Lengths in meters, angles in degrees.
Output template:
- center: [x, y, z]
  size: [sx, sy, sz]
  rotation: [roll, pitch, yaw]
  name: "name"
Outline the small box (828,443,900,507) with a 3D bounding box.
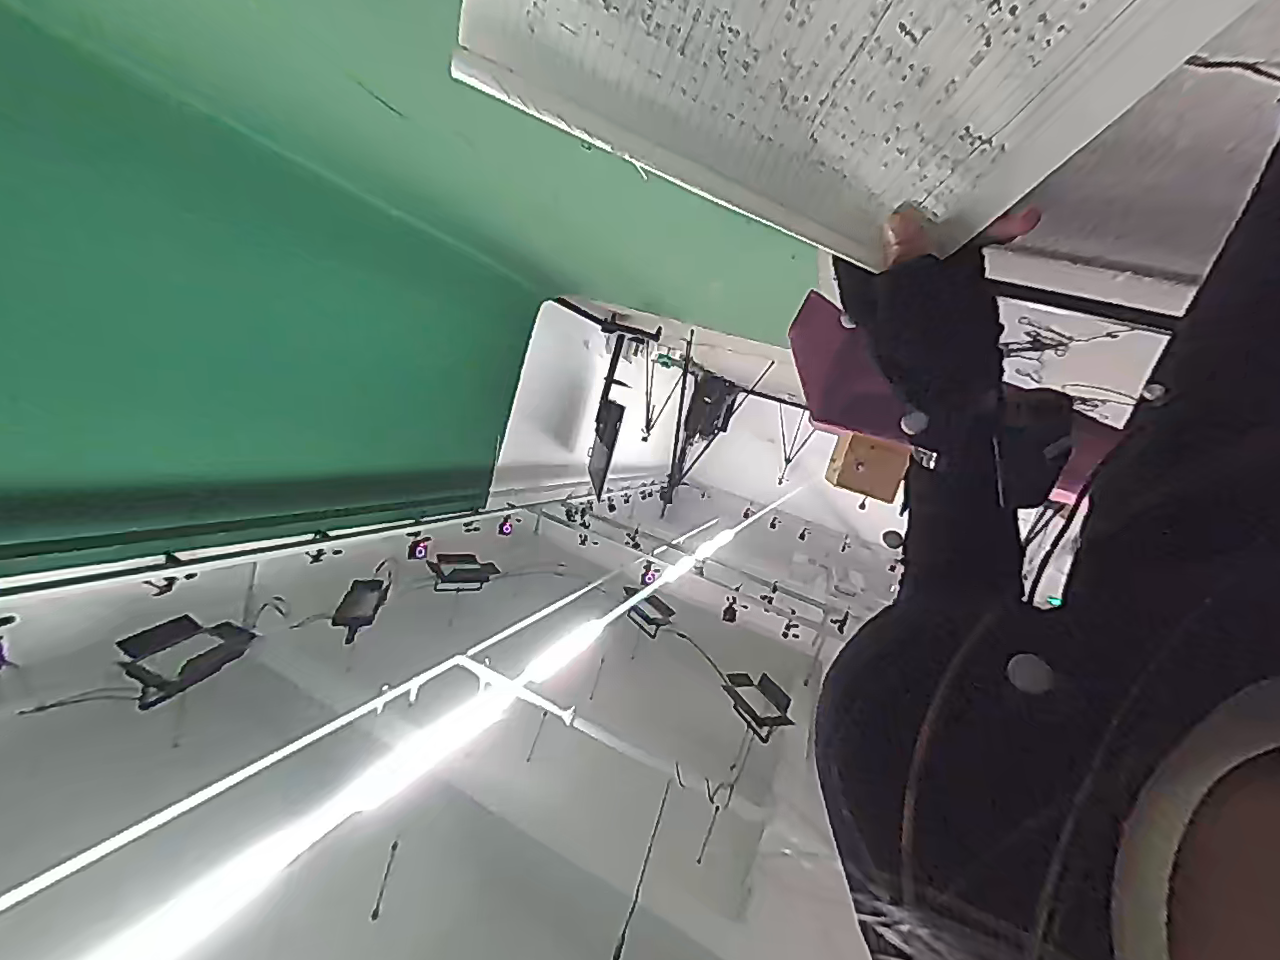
- center: [0.743, -0.023, 1.796]
  size: [0.168, 0.176, 0.179]
  rotation: [19, -173, 10]
  name: "small box"
